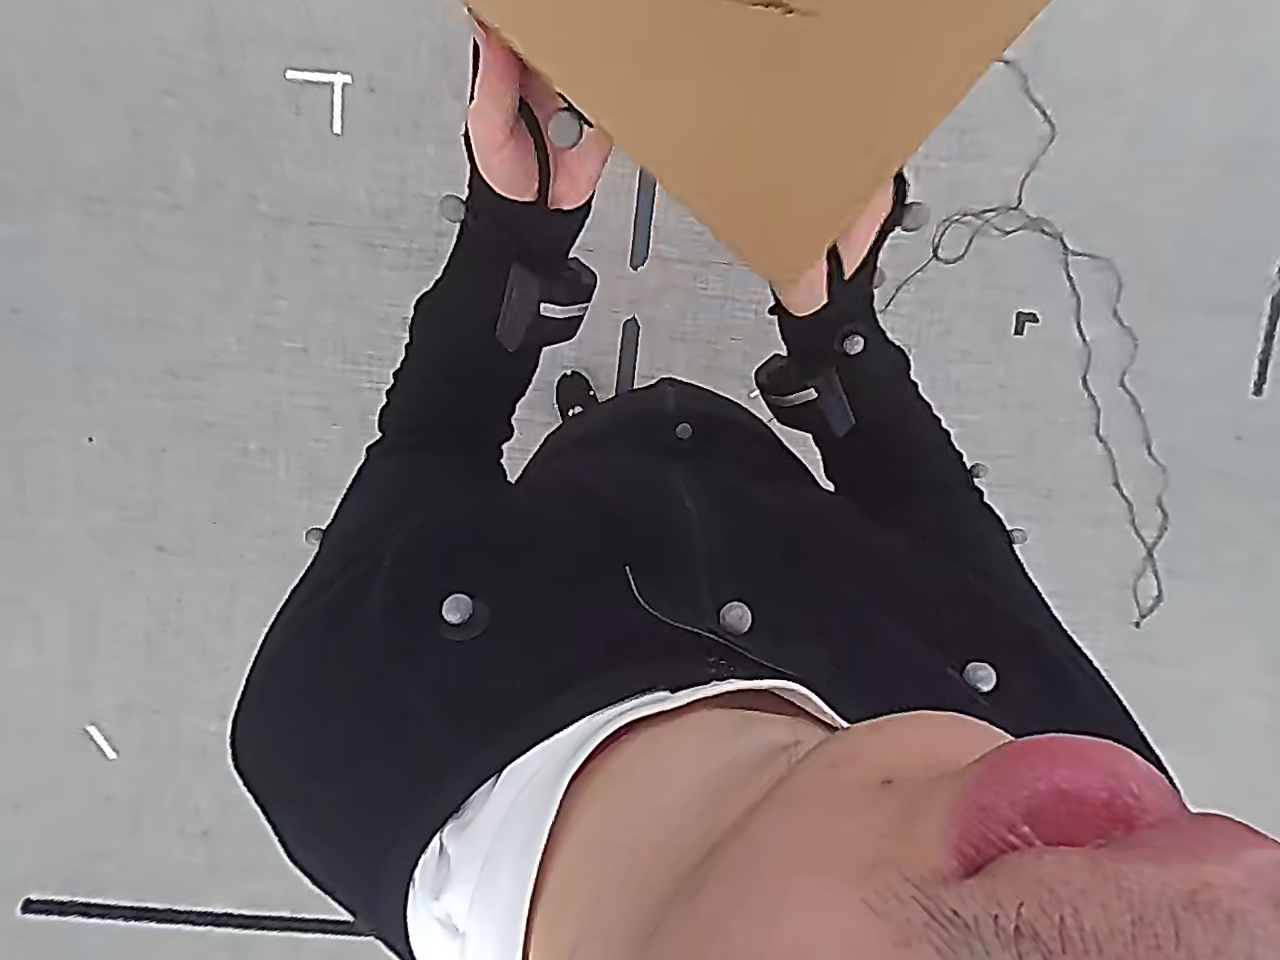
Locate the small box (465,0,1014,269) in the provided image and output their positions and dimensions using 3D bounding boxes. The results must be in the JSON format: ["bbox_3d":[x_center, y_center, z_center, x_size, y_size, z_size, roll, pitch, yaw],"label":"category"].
[{"bbox_3d":[0.034,-0.207,0.183,0.168,0.176,0.179,34,115,-16],"label":"small box"}]
